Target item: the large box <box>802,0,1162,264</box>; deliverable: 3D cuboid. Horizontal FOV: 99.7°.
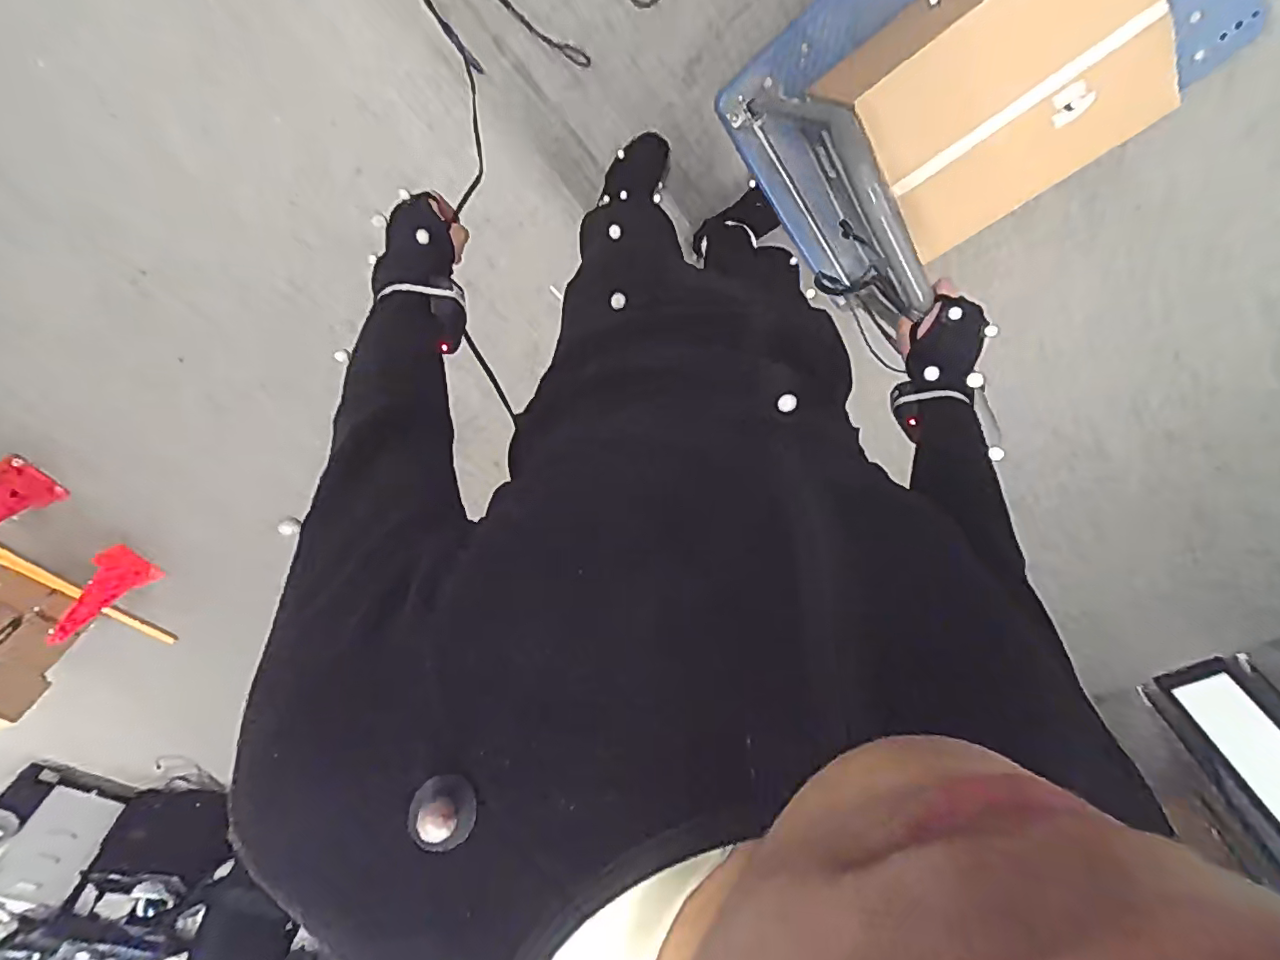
[{"bbox_3d":[0.566,-0.672,0.960,0.408,0.320,0.320,-31,123,21],"label":"large box"}]
